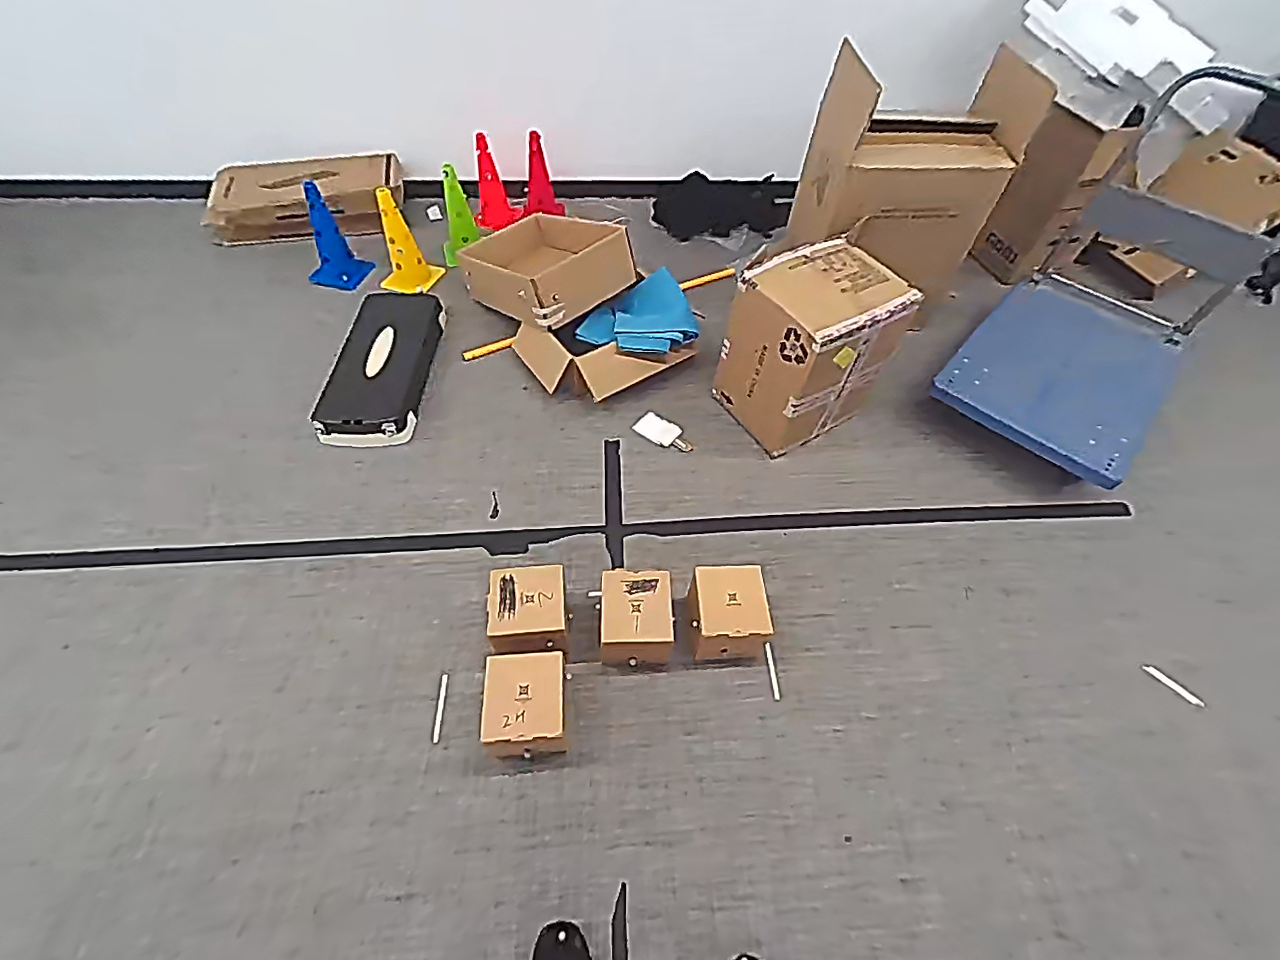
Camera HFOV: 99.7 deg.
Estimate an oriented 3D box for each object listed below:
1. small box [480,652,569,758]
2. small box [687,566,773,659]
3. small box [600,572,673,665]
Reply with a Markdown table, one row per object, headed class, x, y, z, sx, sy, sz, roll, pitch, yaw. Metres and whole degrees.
| class | x | y | z | sx | sy | sz | roll | pitch | yaw |
| --- | --- | --- | --- | --- | --- | --- | --- | --- | --- |
| small box | -0.245 | 0.495 | 1.188 | 0.168 | 0.176 | 0.179 | -3 | 55 | -4 |
| small box | 0.214 | 0.328 | 1.338 | 0.168 | 0.176 | 0.179 | -1 | 55 | -4 |
| small box | -0.012 | 0.338 | 1.315 | 0.168 | 0.176 | 0.179 | 0 | 55 | -3 |
